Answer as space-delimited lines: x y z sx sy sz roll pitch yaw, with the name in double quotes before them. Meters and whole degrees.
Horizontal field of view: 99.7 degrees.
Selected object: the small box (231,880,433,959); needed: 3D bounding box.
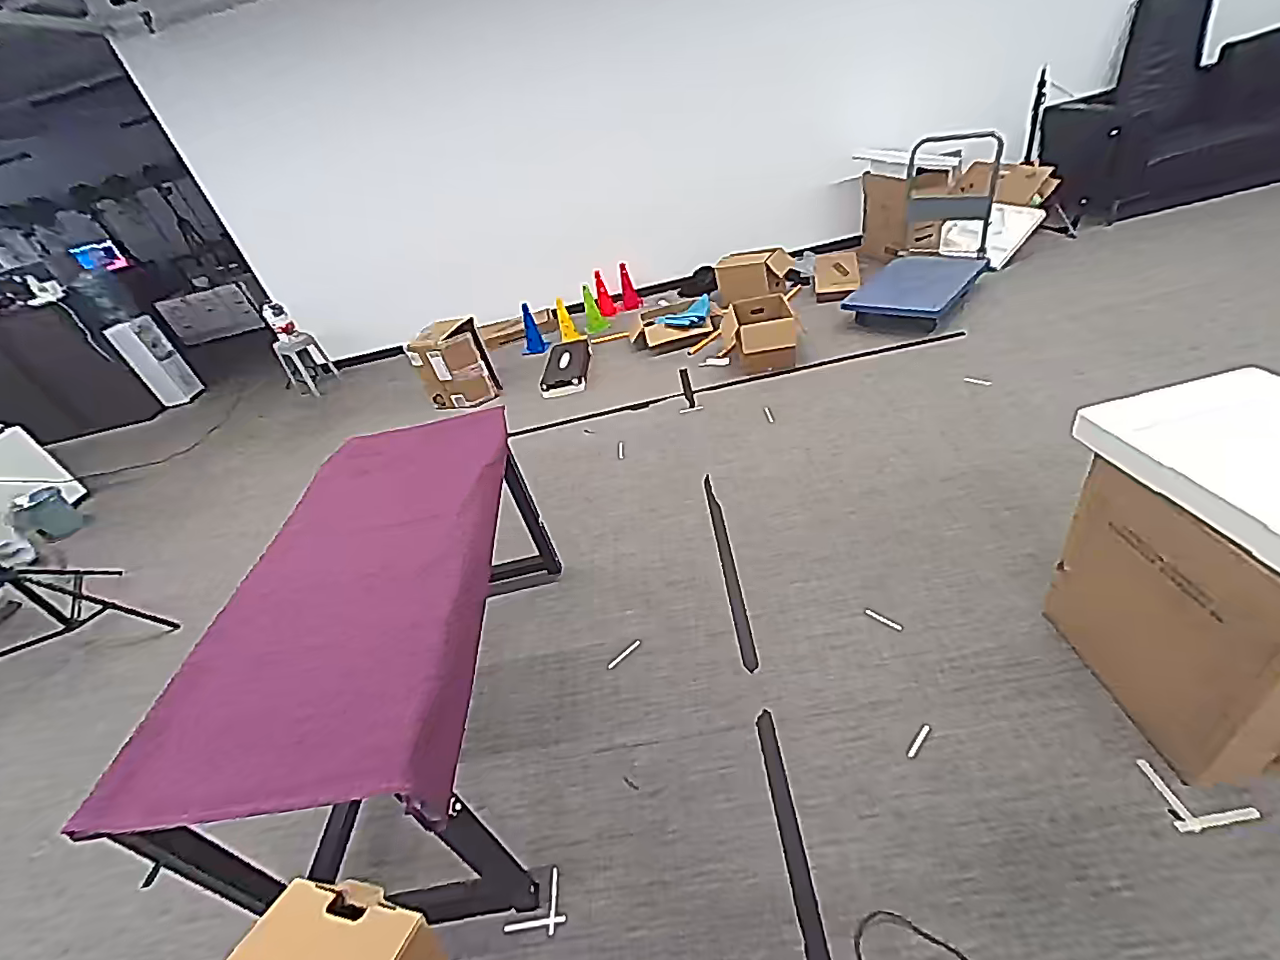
"small box" -0.286 0.515 0.480 0.168 0.176 0.179 -2 21 20
